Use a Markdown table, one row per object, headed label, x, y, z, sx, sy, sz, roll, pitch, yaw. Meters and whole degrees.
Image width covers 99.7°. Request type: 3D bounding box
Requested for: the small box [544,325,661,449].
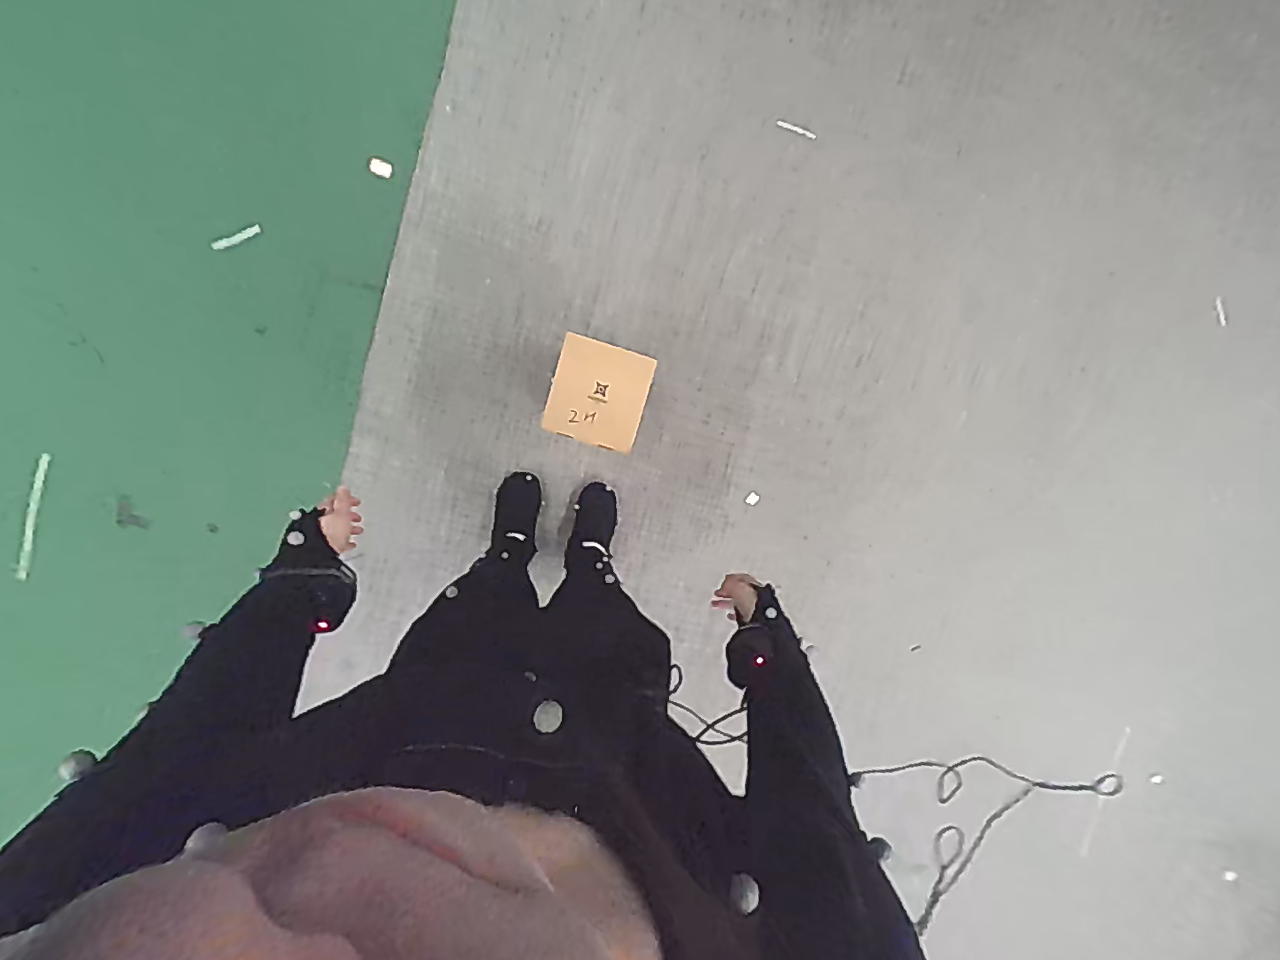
| label | x | y | z | sx | sy | sz | roll | pitch | yaw |
| --- | --- | --- | --- | --- | --- | --- | --- | --- | --- |
| small box | -0.073 | -0.168 | 1.007 | 0.168 | 0.176 | 0.179 | 16 | 96 | -7 |
